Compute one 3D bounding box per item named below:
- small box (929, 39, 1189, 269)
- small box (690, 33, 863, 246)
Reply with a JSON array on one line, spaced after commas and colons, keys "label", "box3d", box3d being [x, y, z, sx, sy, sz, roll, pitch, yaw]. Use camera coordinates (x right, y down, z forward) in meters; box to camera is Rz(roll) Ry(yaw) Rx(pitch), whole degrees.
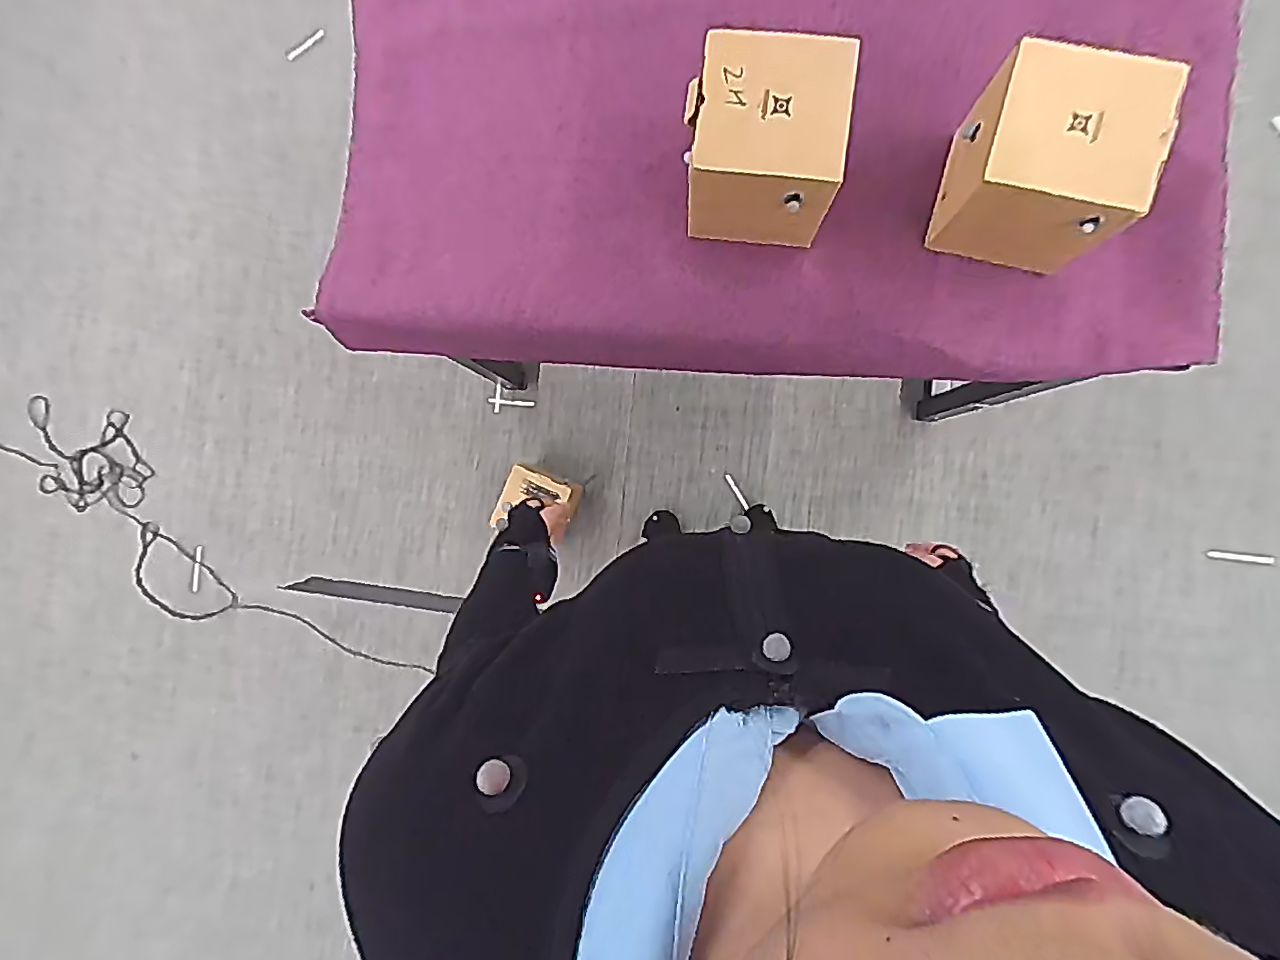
[{"label": "small box", "box3d": [0.489, -0.382, 0.663, 0.179, 0.176, 0.168, 15, 90, 6]}, {"label": "small box", "box3d": [0.162, -0.421, 0.695, 0.179, 0.176, 0.168, 8, 89, 5]}]
